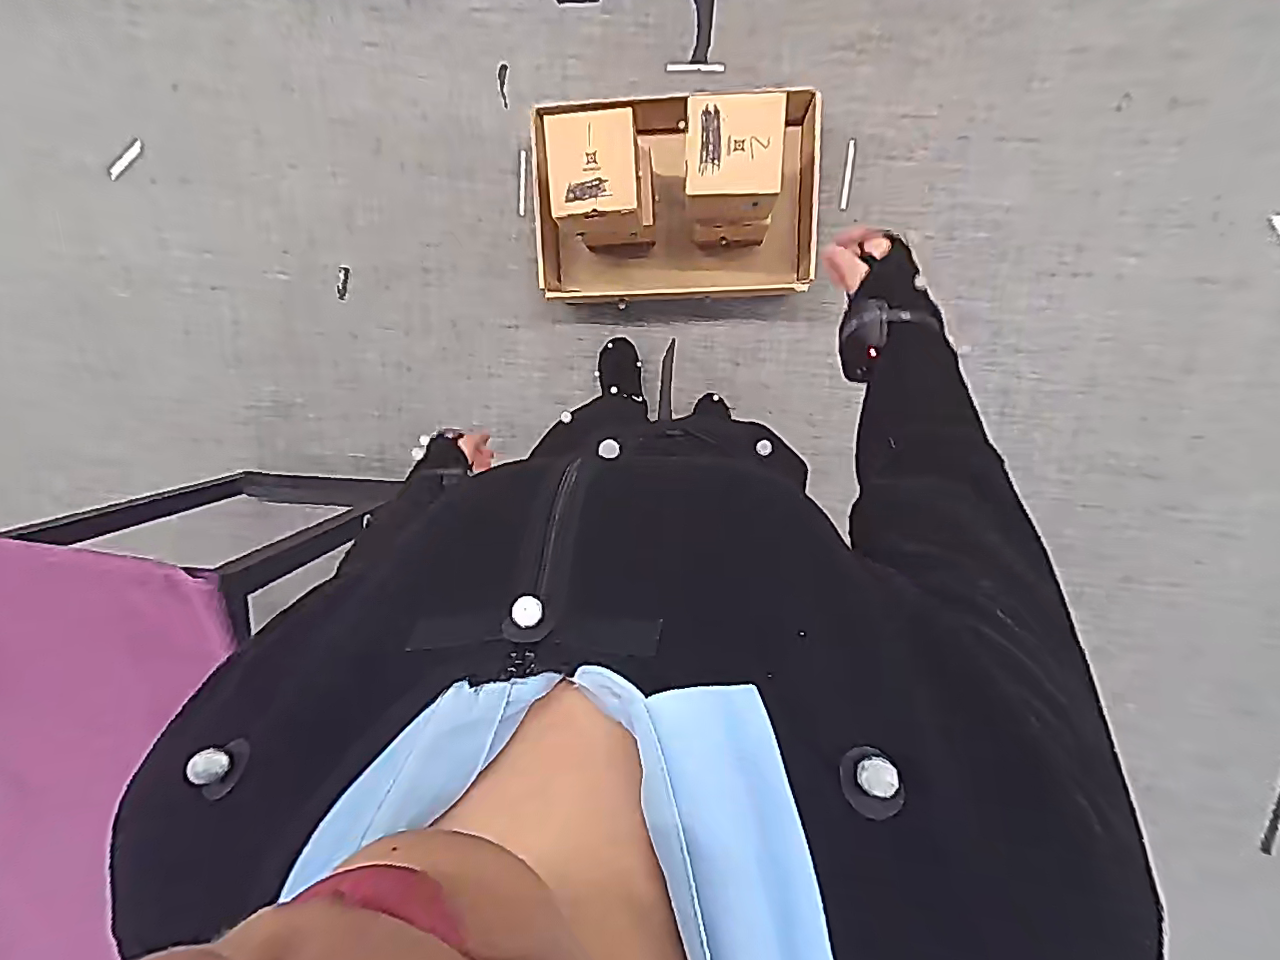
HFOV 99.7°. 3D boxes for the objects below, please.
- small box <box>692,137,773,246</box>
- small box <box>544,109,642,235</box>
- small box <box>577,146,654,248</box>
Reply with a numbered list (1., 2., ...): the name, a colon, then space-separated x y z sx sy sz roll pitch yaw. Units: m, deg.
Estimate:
1. small box: 0.202 -0.640 1.216 0.168 0.176 0.179 0 102 6
2. small box: -0.086 -0.599 1.078 0.168 0.176 0.179 -3 100 4
3. small box: -0.056 -0.639 1.236 0.179 0.176 0.168 -2 101 4
